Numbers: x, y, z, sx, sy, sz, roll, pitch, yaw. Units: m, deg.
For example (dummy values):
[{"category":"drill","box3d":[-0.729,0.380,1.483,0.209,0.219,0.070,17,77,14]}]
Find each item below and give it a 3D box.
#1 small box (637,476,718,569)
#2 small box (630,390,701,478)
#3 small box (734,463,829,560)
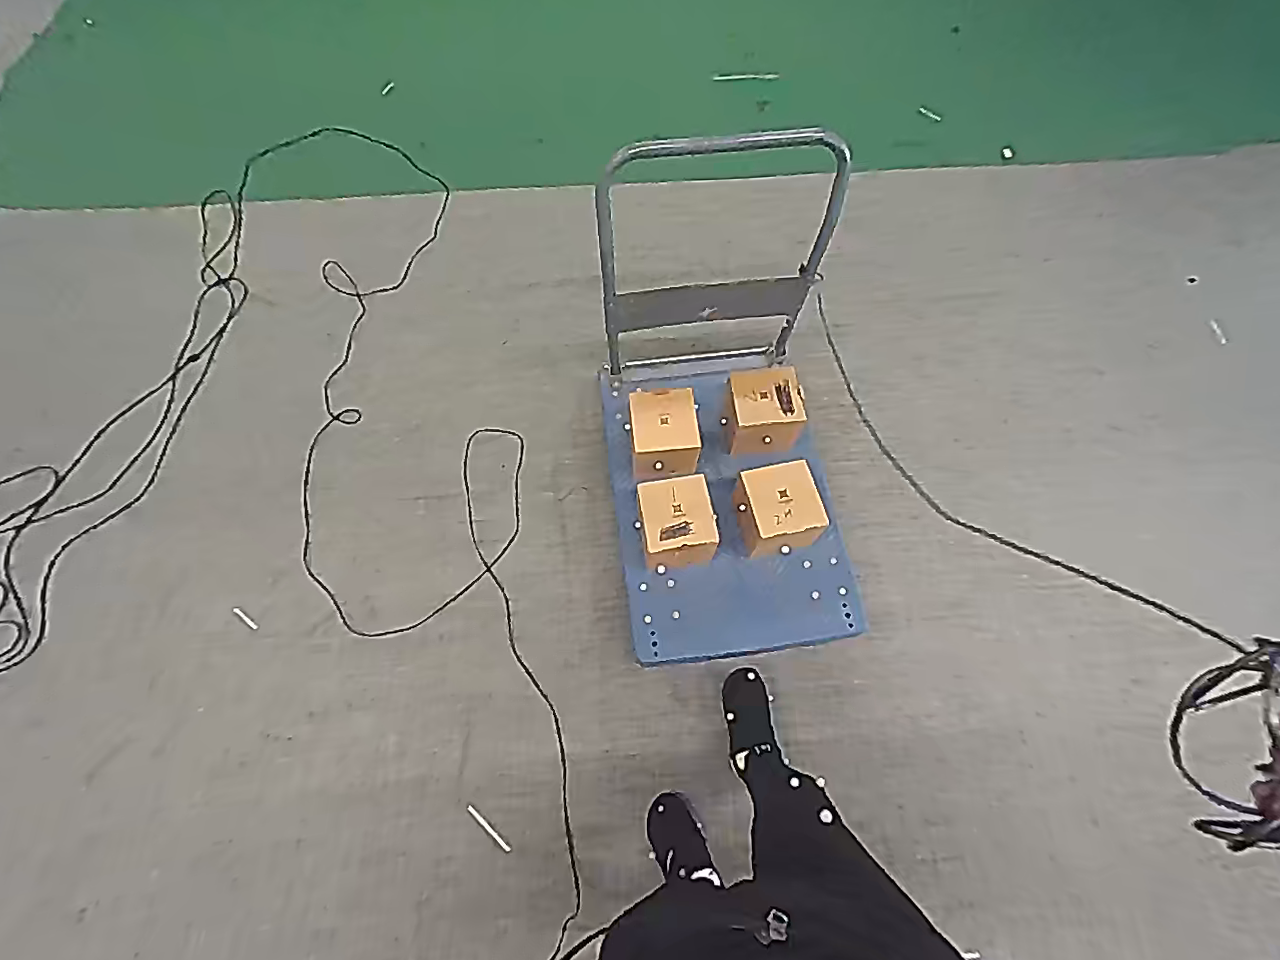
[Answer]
[{"category":"small box","box3d":[0.087,0.112,1.325,0.168,0.176,0.179,-8,66,-5]},{"category":"small box","box3d":[0.064,-0.114,1.428,0.168,0.176,0.179,-5,65,-3]},{"category":"small box","box3d":[0.340,0.081,1.339,0.168,0.176,0.179,-11,66,-4]}]
